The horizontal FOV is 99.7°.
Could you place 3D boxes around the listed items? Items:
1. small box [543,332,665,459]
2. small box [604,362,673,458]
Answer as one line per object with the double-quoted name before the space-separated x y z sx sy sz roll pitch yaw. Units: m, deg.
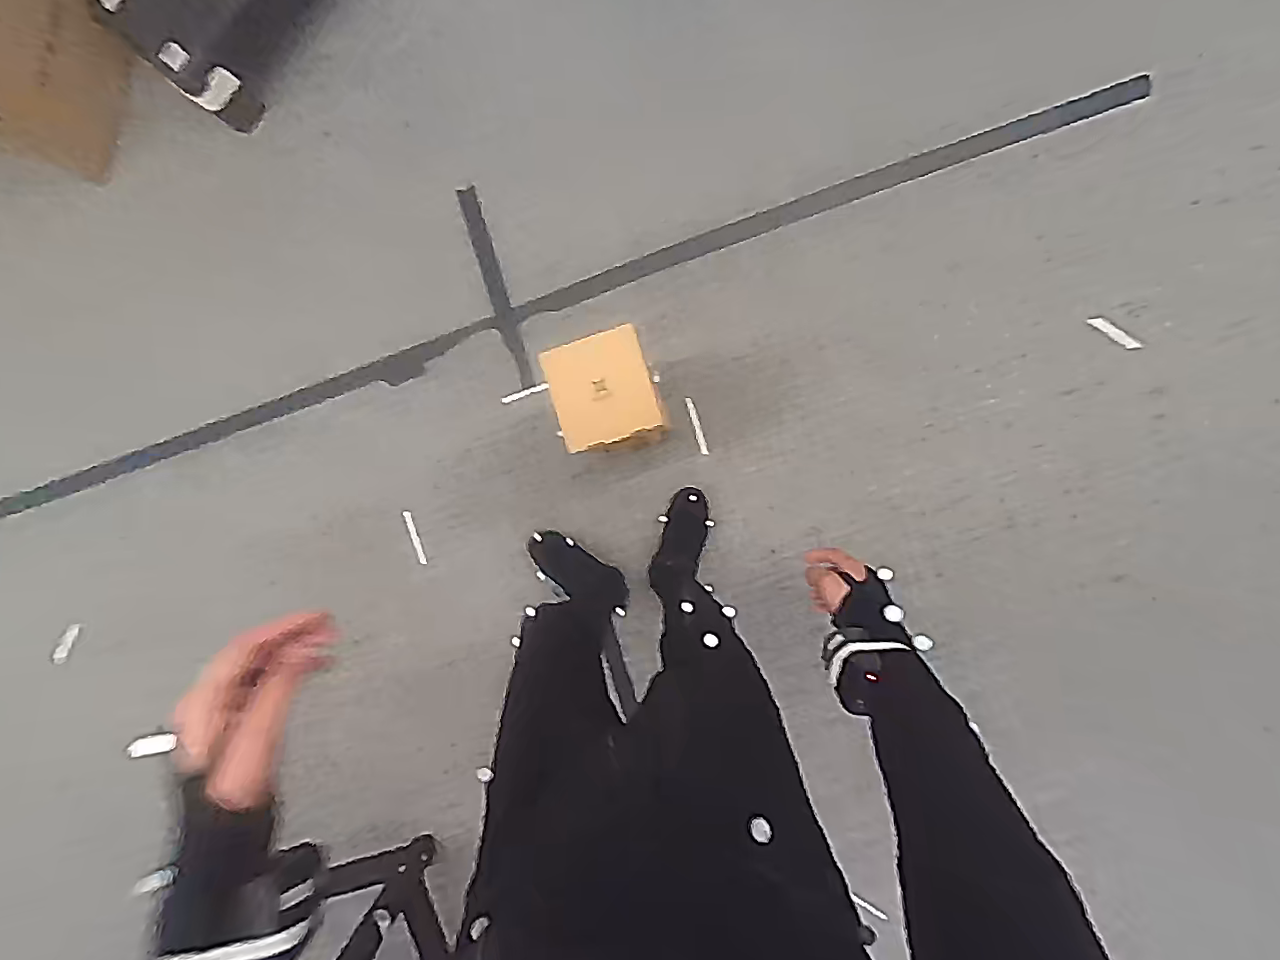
"small box" -0.058 -0.143 0.970 0.168 0.176 0.179 -18 93 4
"small box" -0.028 -0.162 1.296 0.168 0.176 0.179 -21 93 5
